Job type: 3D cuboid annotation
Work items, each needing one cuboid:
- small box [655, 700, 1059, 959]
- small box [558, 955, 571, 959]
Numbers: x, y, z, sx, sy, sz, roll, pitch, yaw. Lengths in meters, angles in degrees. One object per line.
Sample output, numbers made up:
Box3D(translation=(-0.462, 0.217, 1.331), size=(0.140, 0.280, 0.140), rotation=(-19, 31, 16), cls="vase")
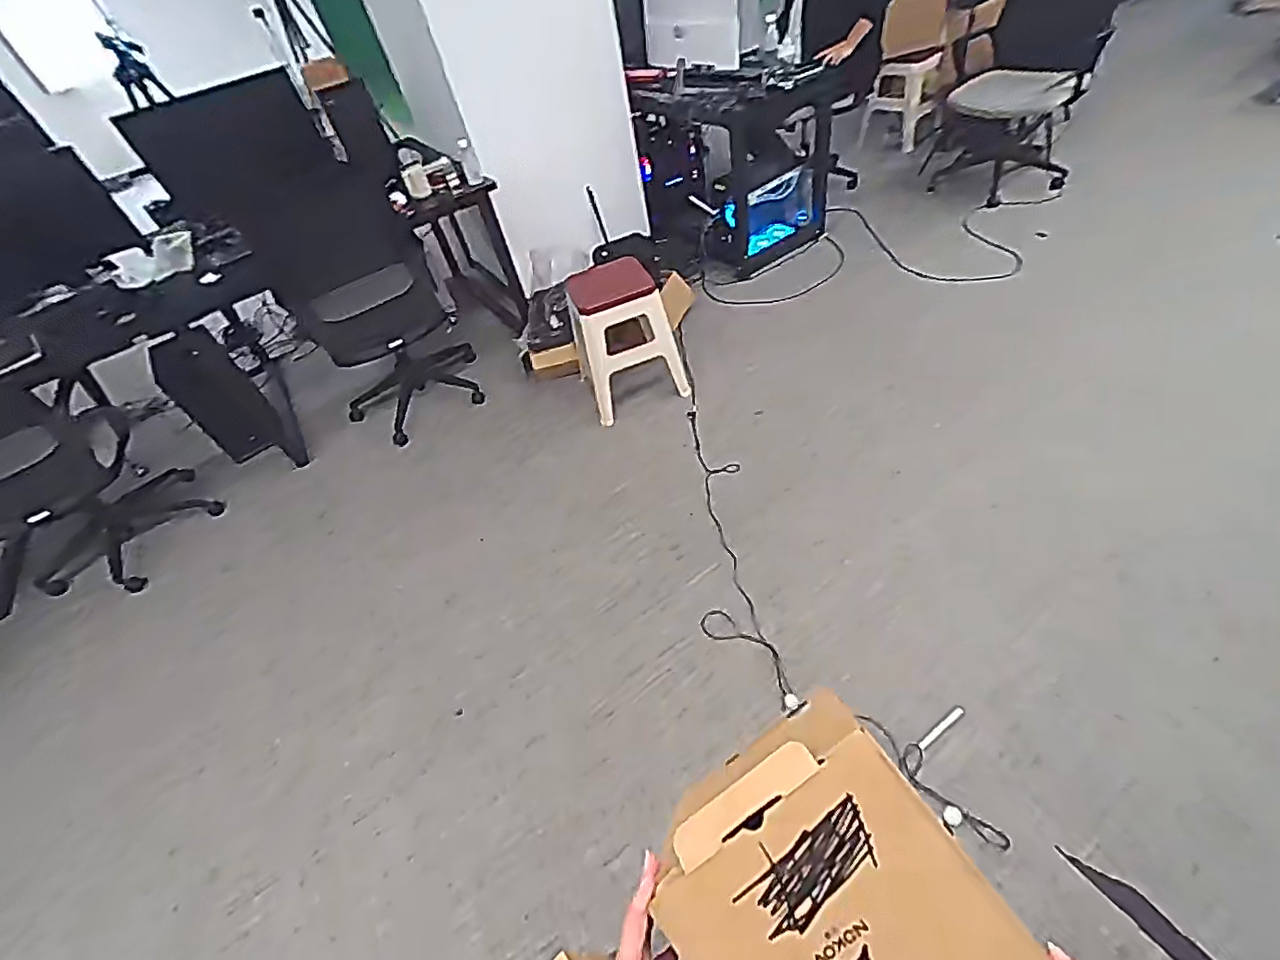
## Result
Box3D(translation=(0.135, 0.273, 0.365), size=(0.168, 0.176, 0.179), rotation=(-39, 75, 2), cls="small box")
Box3D(translation=(-0.111, 0.858, 0.800), size=(0.179, 0.176, 0.168), rotation=(-39, 50, -20), cls="small box")
